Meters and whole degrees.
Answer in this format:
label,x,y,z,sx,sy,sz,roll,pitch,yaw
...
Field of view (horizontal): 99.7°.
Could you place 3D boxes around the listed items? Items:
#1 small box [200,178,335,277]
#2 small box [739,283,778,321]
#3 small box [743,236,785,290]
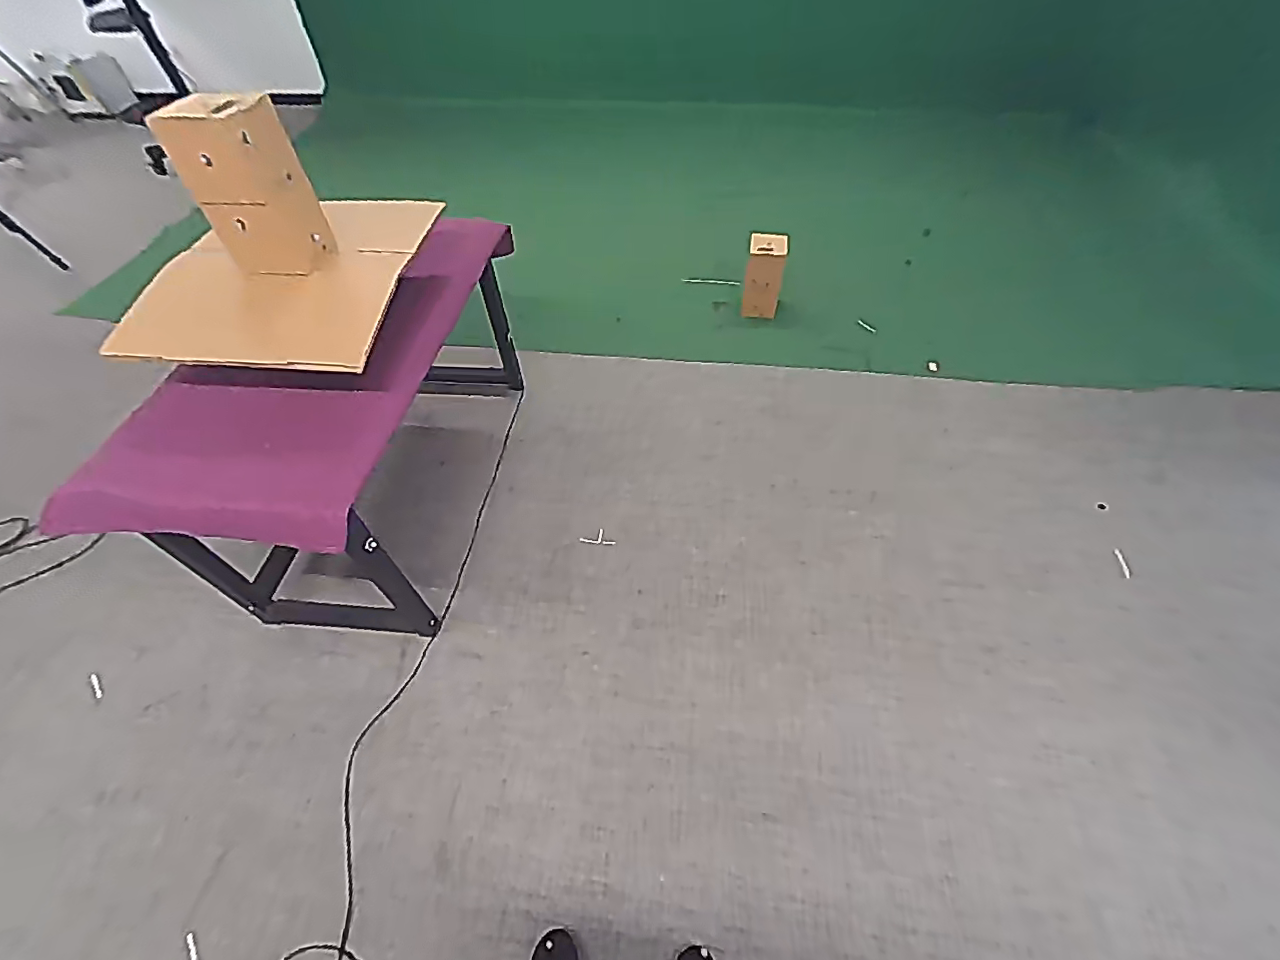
label,x,y,z,sx,sy,sz,roll,pitch,yaw
small box,-0.888,-0.610,1.309,0.179,0.176,0.168,4,50,4
small box,0.579,-0.908,2.652,0.168,0.176,0.179,7,53,6
small box,0.577,-1.009,2.522,0.168,0.176,0.179,8,52,6
